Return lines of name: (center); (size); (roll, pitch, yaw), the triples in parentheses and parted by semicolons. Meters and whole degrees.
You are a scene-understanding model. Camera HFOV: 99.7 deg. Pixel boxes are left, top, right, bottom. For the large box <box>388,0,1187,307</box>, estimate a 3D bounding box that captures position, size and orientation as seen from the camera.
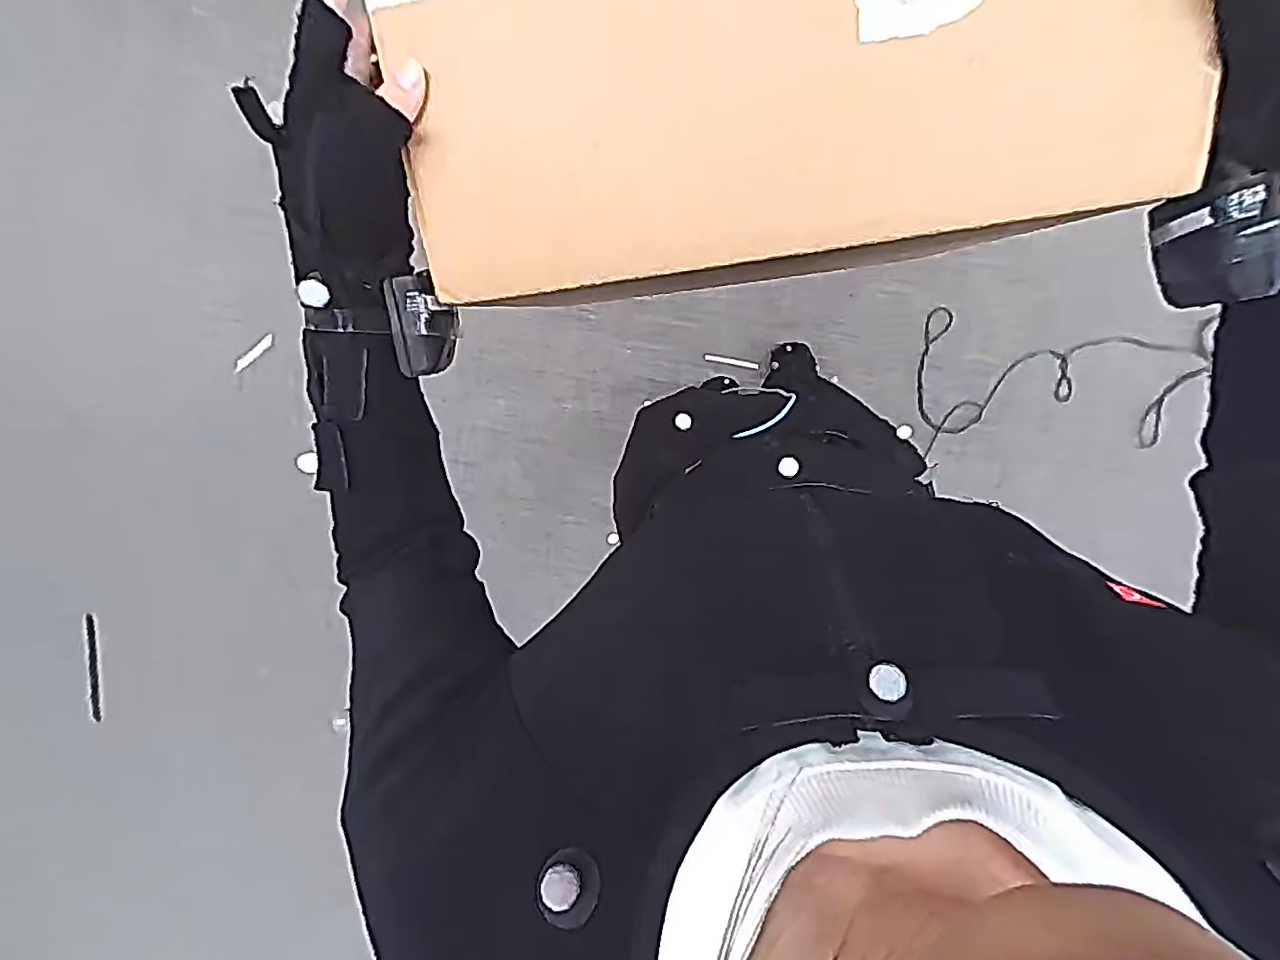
large box: (0.068, -0.324, 0.408); (0.408, 0.320, 0.320); (-7, 107, 7)
